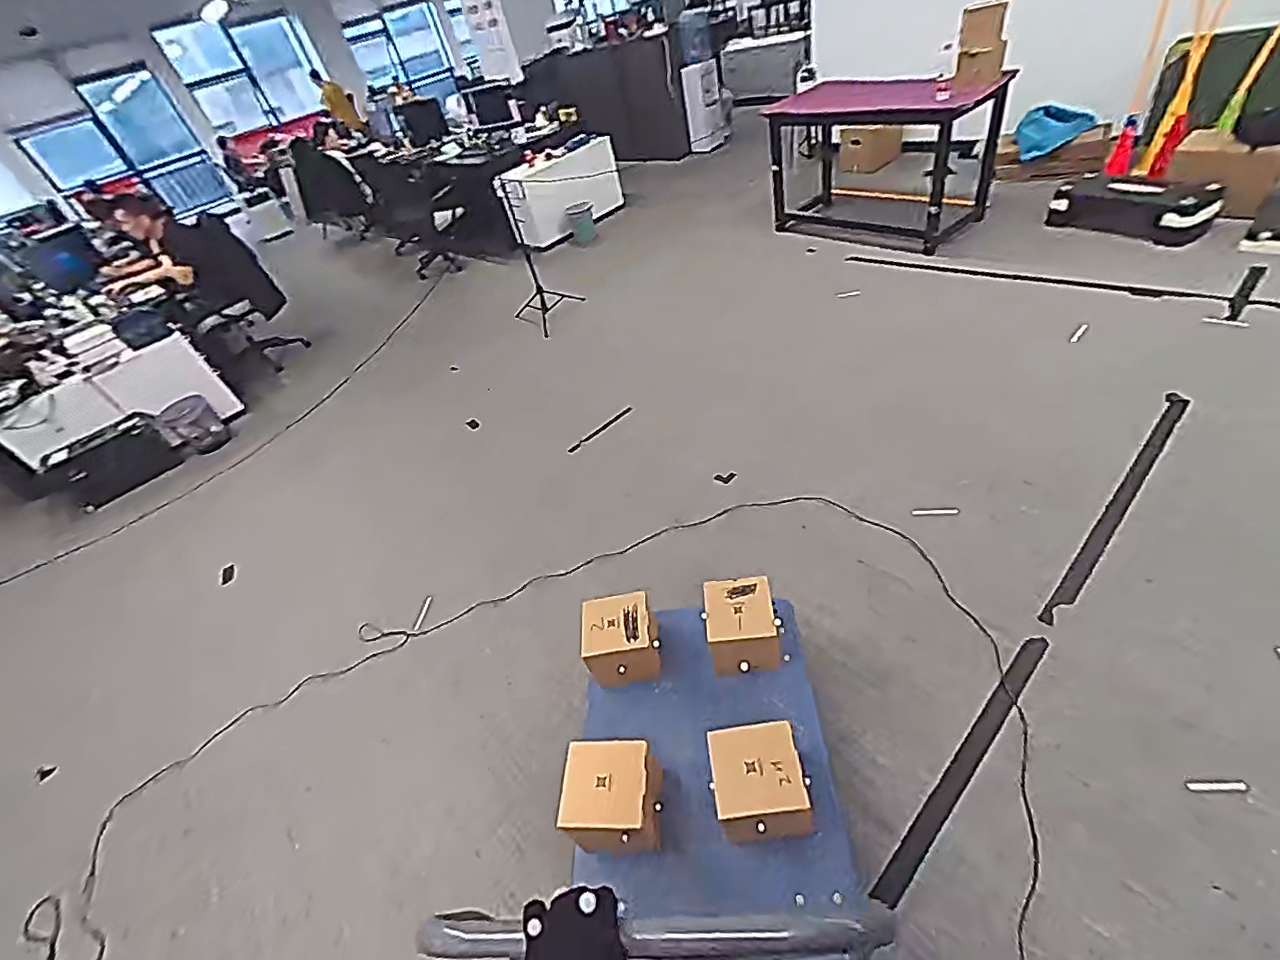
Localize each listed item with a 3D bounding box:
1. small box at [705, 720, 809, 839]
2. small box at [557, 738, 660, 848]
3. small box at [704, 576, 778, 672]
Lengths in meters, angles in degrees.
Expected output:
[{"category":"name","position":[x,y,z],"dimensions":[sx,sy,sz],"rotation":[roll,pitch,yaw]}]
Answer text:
[{"category":"small box","position":[0.242,0.624,1.120],"dimensions":[0.179,0.176,0.168],"rotation":[-11,42,7]},{"category":"small box","position":[-0.060,0.676,1.165],"dimensions":[0.179,0.176,0.168],"rotation":[-6,42,10]},{"category":"small box","position":[0.259,0.371,1.390],"dimensions":[0.168,0.176,0.179],"rotation":[-8,43,10]}]
